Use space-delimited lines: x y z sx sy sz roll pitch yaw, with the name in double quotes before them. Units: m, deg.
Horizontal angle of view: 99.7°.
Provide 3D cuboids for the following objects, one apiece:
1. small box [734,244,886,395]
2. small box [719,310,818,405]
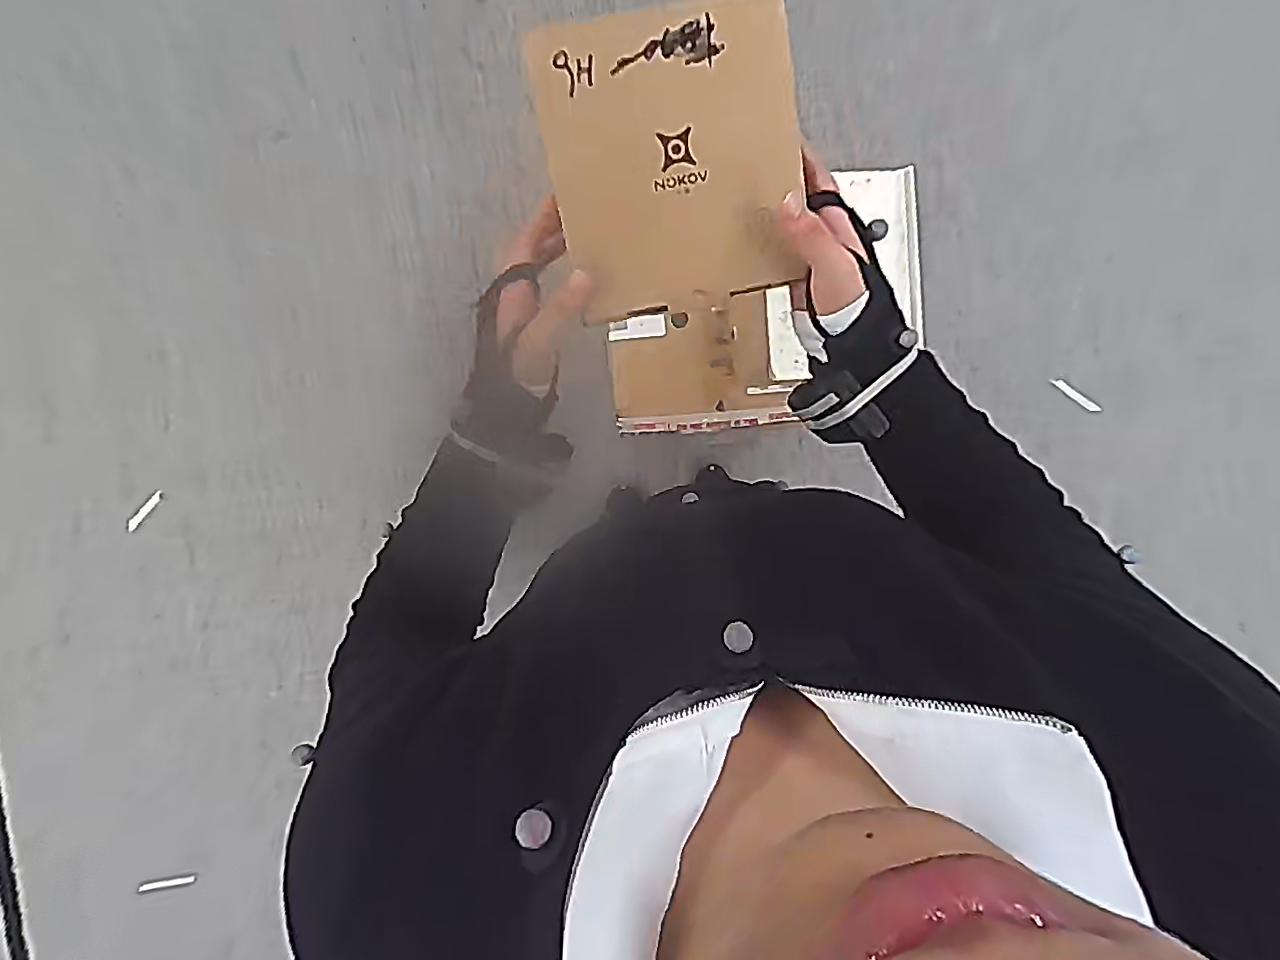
"small box" 0.240 -0.228 0.800 0.168 0.176 0.179 -3 91 -4
"small box" 0.251 -0.232 0.966 0.179 0.176 0.168 -7 90 -3
